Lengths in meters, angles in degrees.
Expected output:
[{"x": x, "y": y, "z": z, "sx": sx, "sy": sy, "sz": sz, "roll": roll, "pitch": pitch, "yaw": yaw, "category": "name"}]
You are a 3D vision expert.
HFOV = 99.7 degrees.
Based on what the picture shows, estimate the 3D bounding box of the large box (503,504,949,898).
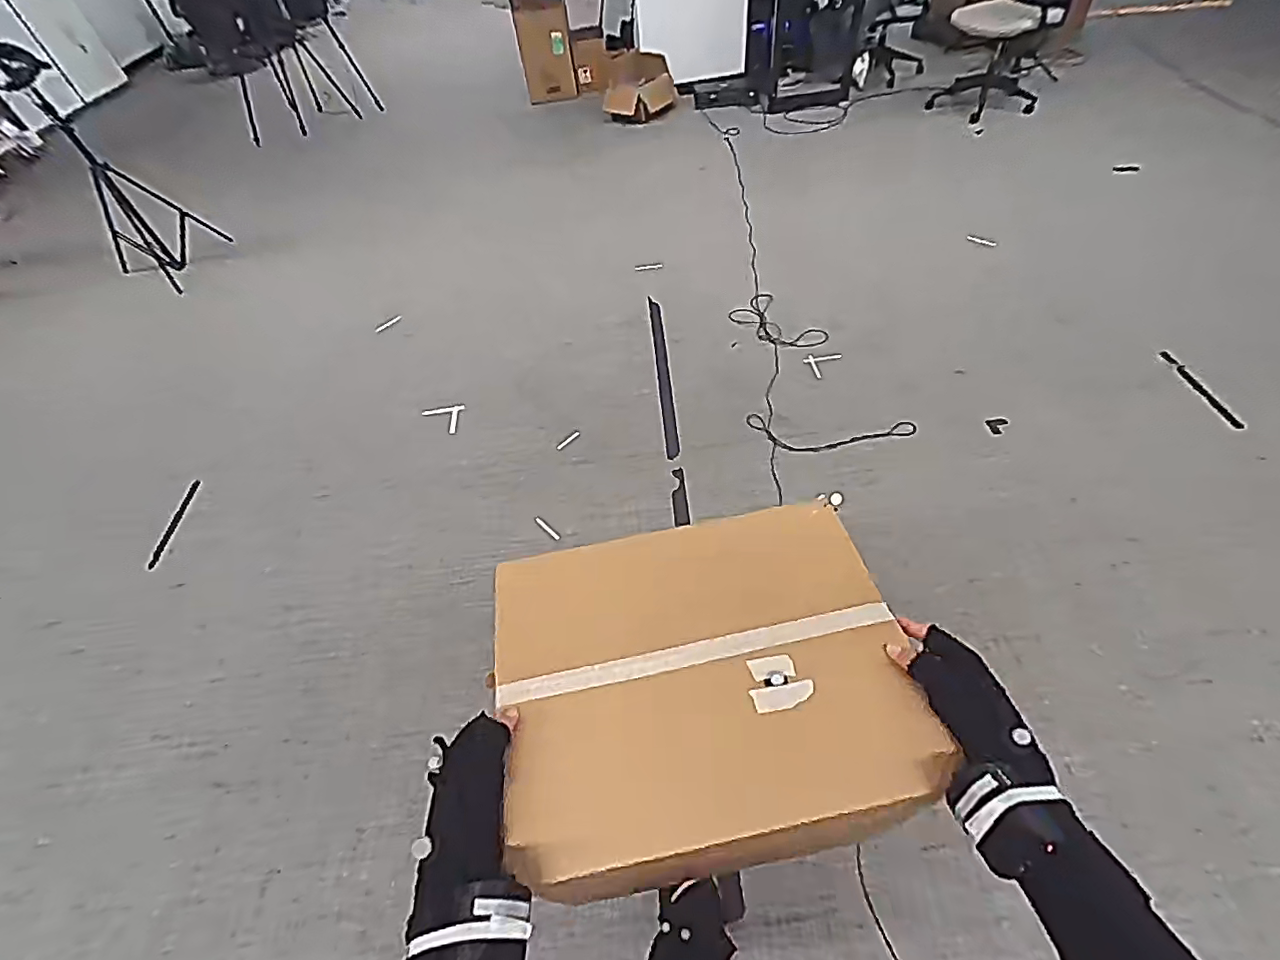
[{"x": 0.069, "y": 0.279, "z": 0.679, "sx": 0.408, "sy": 0.320, "sz": 0.320, "roll": -11, "pitch": 50, "yaw": -4, "category": "large box"}]
